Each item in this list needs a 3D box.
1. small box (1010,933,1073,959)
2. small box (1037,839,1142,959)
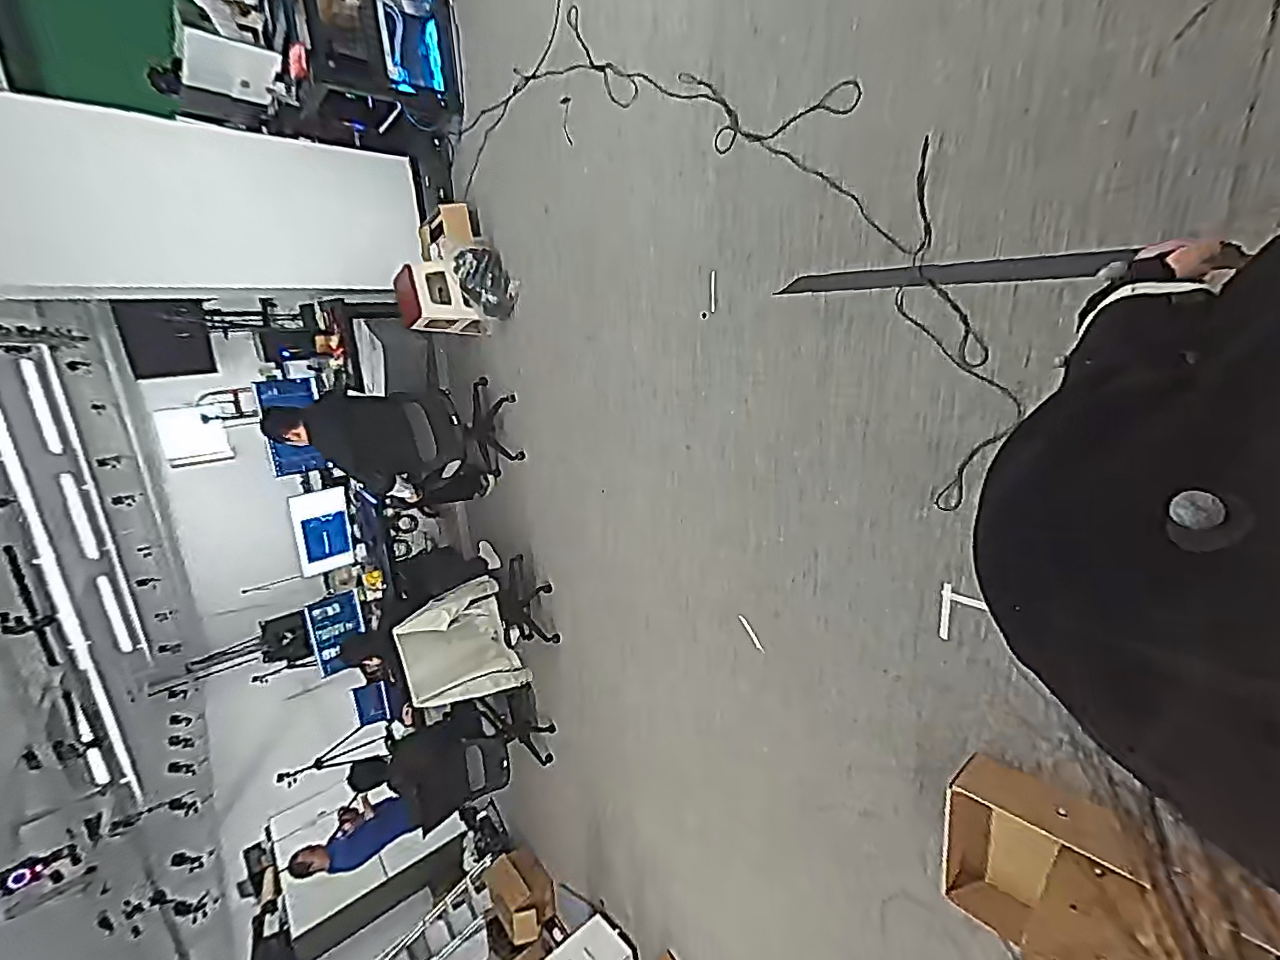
[{"bbox_3d":[0.843,1.095,1.095,0.168,0.176,0.179,7,108,49],"label":"small box"},{"bbox_3d":[1.084,1.030,1.305,0.168,0.176,0.179,8,109,49],"label":"small box"}]
